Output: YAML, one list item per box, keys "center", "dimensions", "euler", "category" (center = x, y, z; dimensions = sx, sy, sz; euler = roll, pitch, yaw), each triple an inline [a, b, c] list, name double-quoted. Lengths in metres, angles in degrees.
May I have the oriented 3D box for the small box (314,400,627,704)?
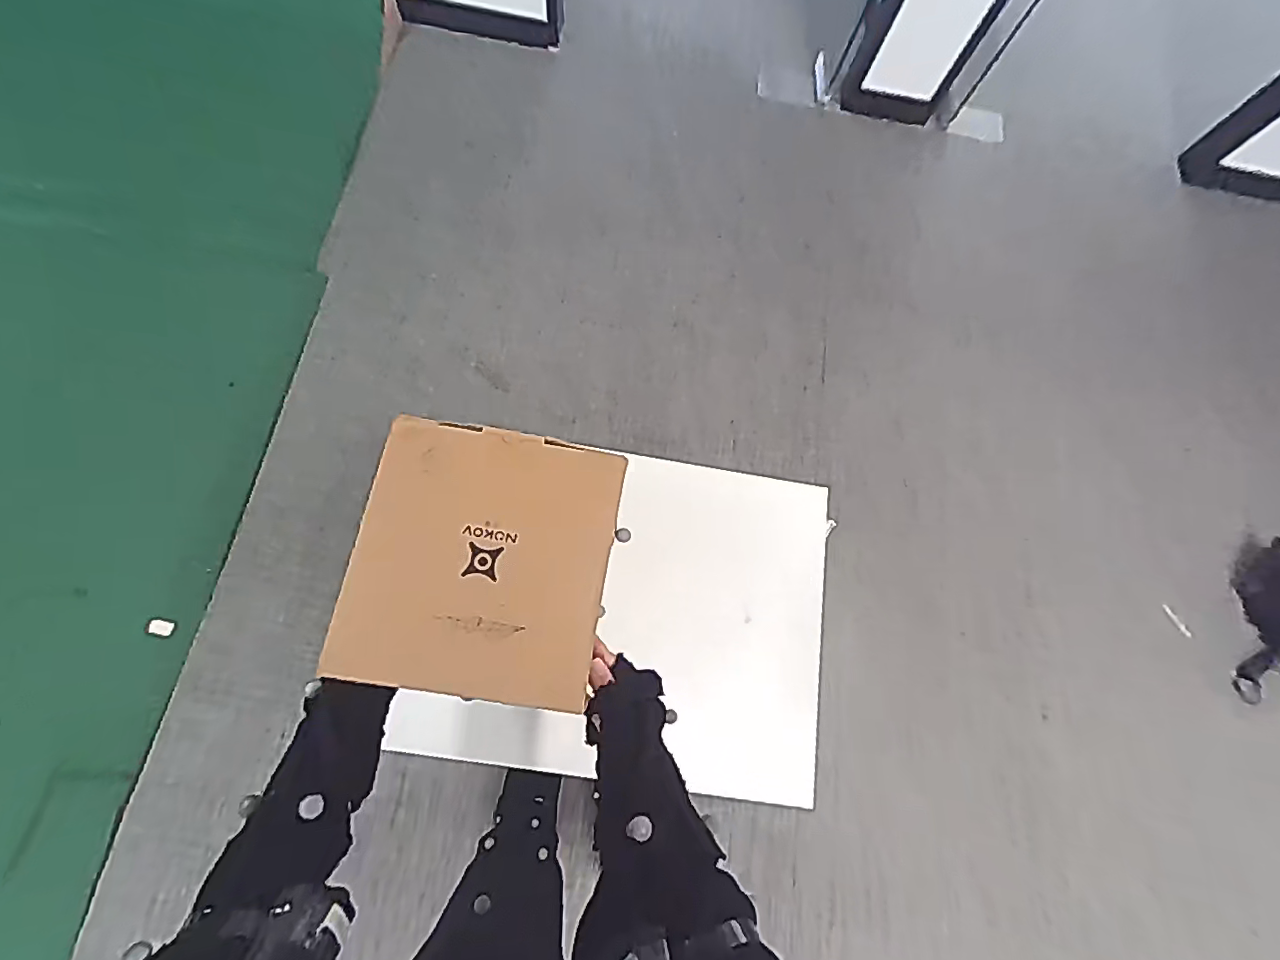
- center: [-0.111, 0.063, 0.427]
  dimensions: [0.168, 0.176, 0.179]
  euler: [11, 74, -3]
  category: "small box"
